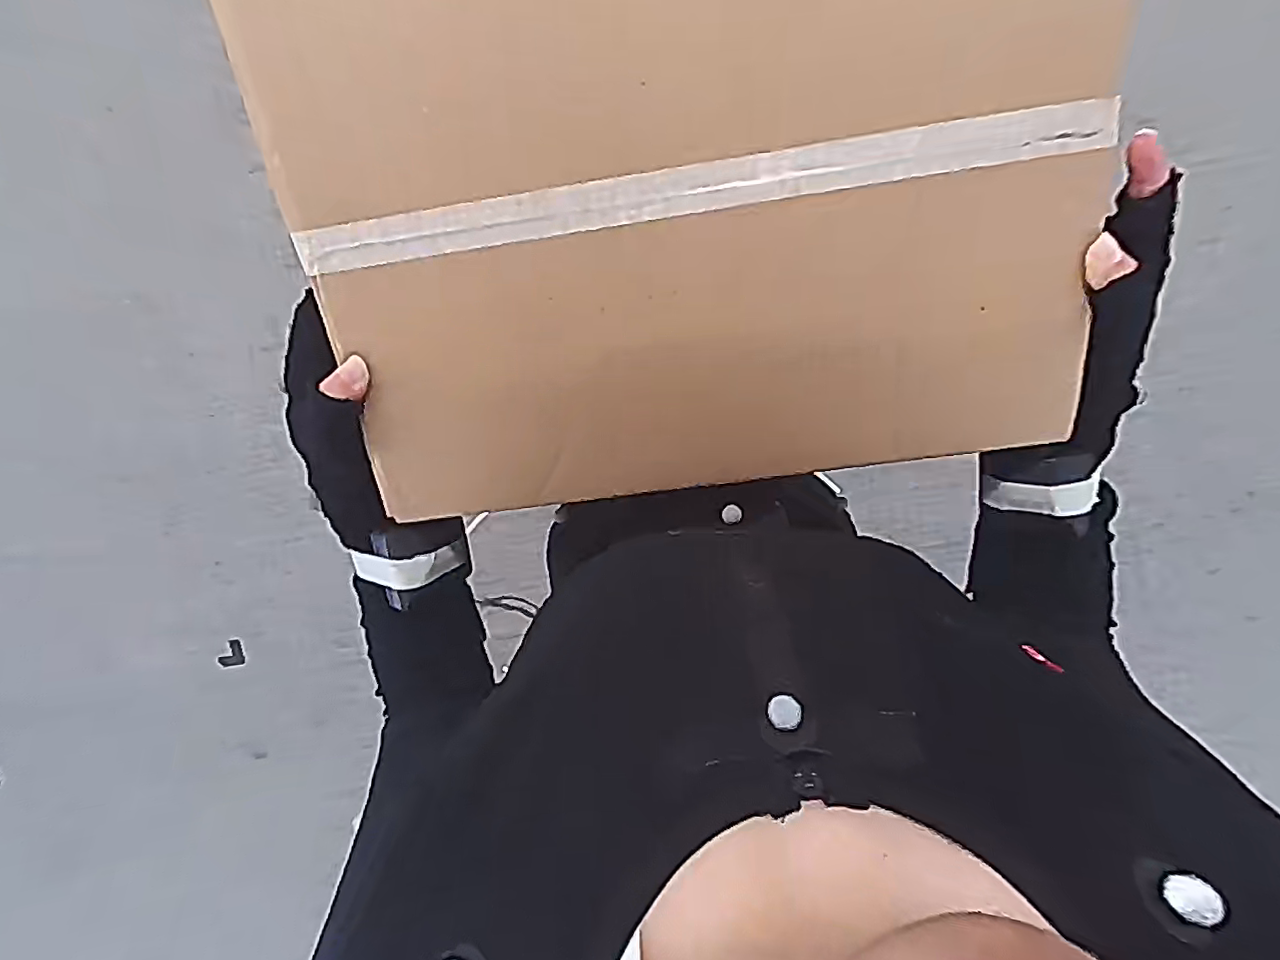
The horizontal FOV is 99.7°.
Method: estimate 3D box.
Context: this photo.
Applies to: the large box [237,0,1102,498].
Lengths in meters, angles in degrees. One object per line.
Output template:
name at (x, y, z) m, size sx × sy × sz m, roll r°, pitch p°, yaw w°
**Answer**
large box at (0.022, -0.208, 0.417) m, size 0.408 × 0.320 × 0.320 m, roll -7°, pitch 112°, yaw 3°
